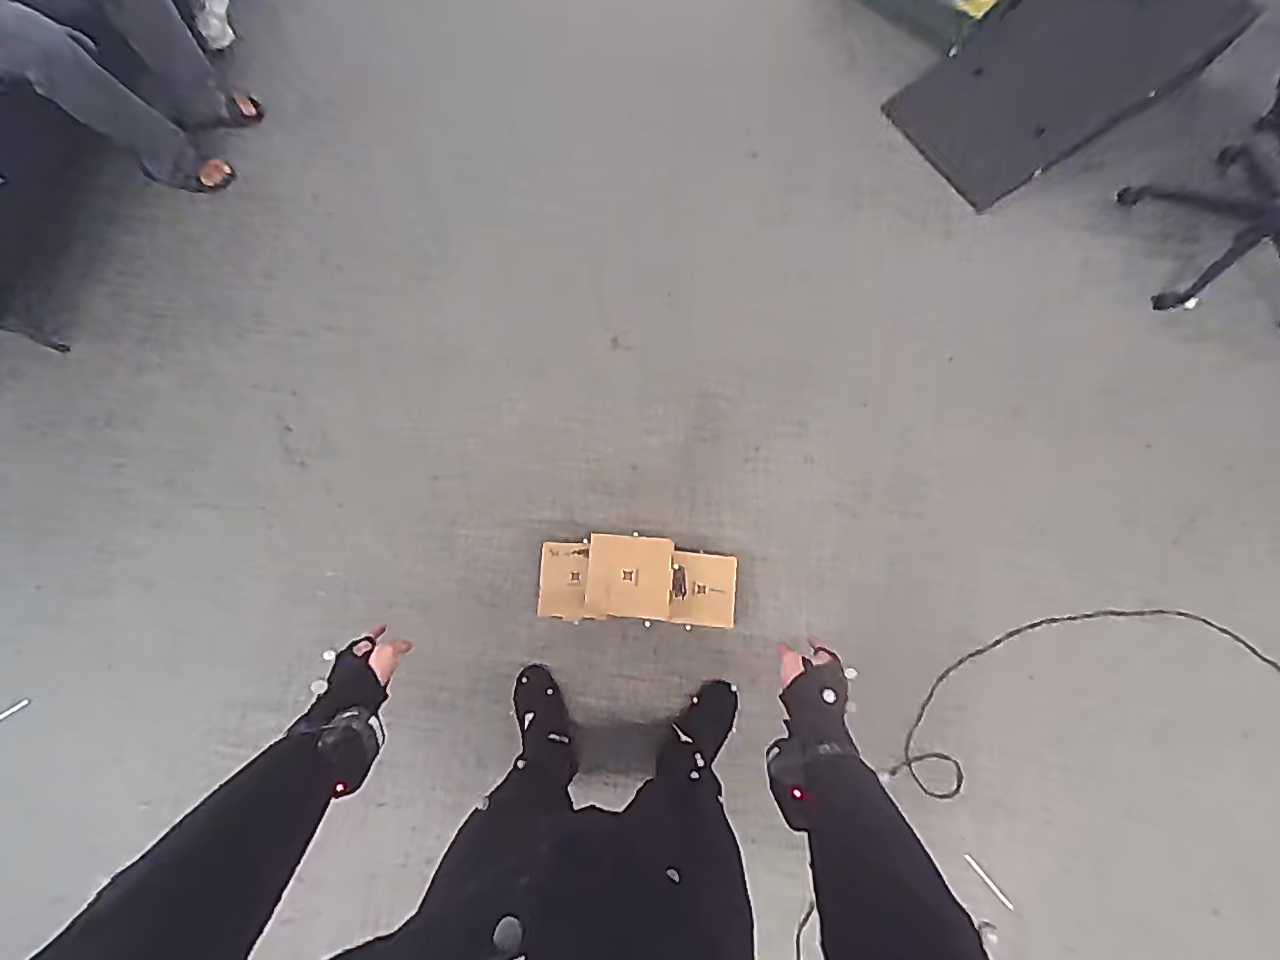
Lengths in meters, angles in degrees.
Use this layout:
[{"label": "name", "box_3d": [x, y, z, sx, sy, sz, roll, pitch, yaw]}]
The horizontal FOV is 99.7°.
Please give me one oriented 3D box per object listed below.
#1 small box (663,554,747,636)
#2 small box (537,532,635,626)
[{"label": "small box", "box_3d": [0.158, 0.285, 1.333, 0.179, 0.176, 0.168, 9, 77, 5]}, {"label": "small box", "box_3d": [-0.128, 0.254, 1.348, 0.179, 0.176, 0.168, -27, 73, -3]}]
